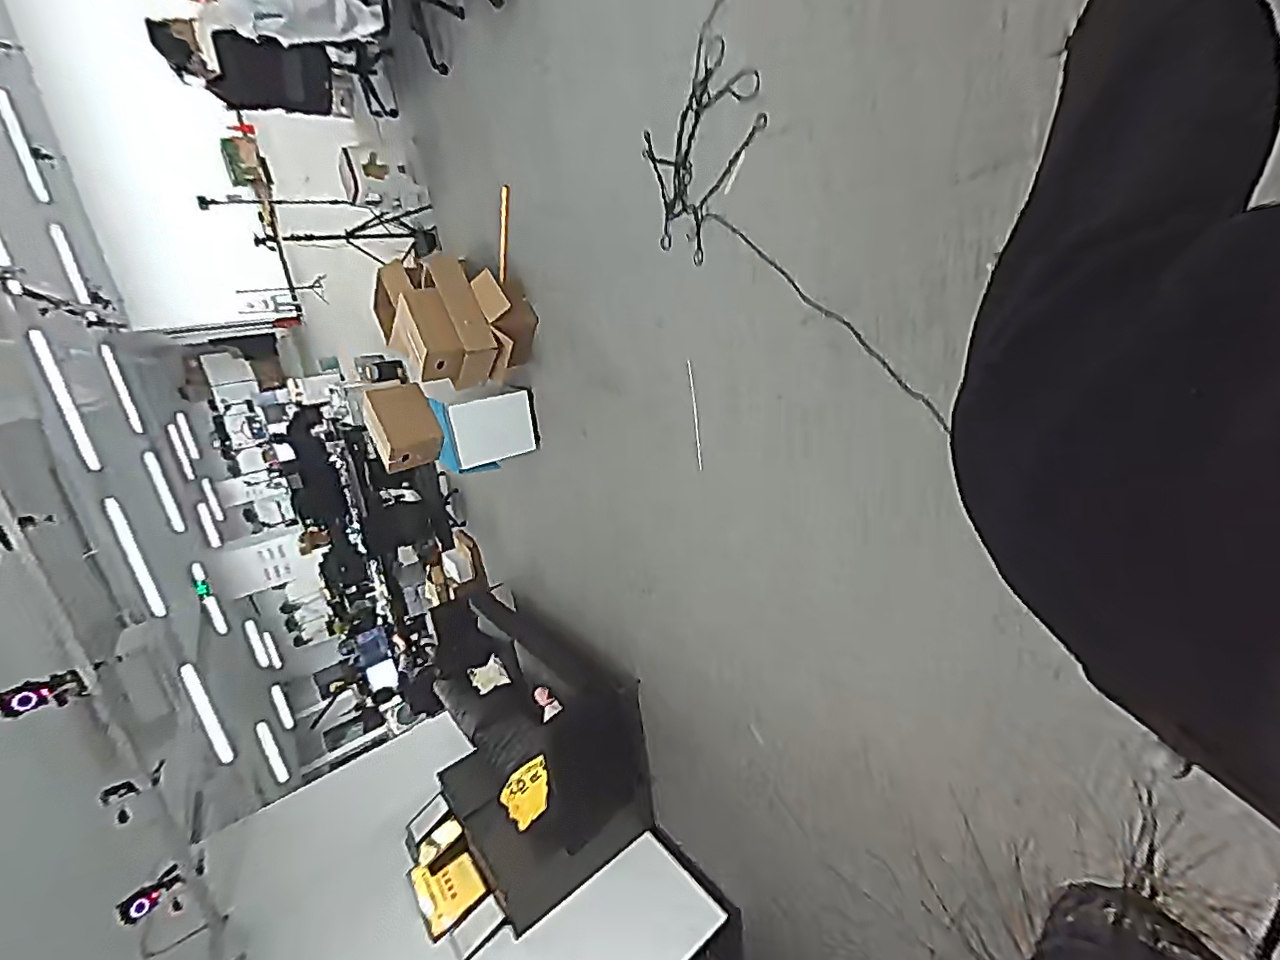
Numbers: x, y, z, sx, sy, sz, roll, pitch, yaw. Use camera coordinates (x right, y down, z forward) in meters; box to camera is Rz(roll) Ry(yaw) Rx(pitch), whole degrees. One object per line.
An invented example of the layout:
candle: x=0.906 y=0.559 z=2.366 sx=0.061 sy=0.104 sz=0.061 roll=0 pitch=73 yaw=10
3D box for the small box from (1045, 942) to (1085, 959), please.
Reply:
small box: x=1.149 y=1.382 z=1.414 sx=0.168 sy=0.176 sz=0.179 roll=13 pitch=116 yaw=52
